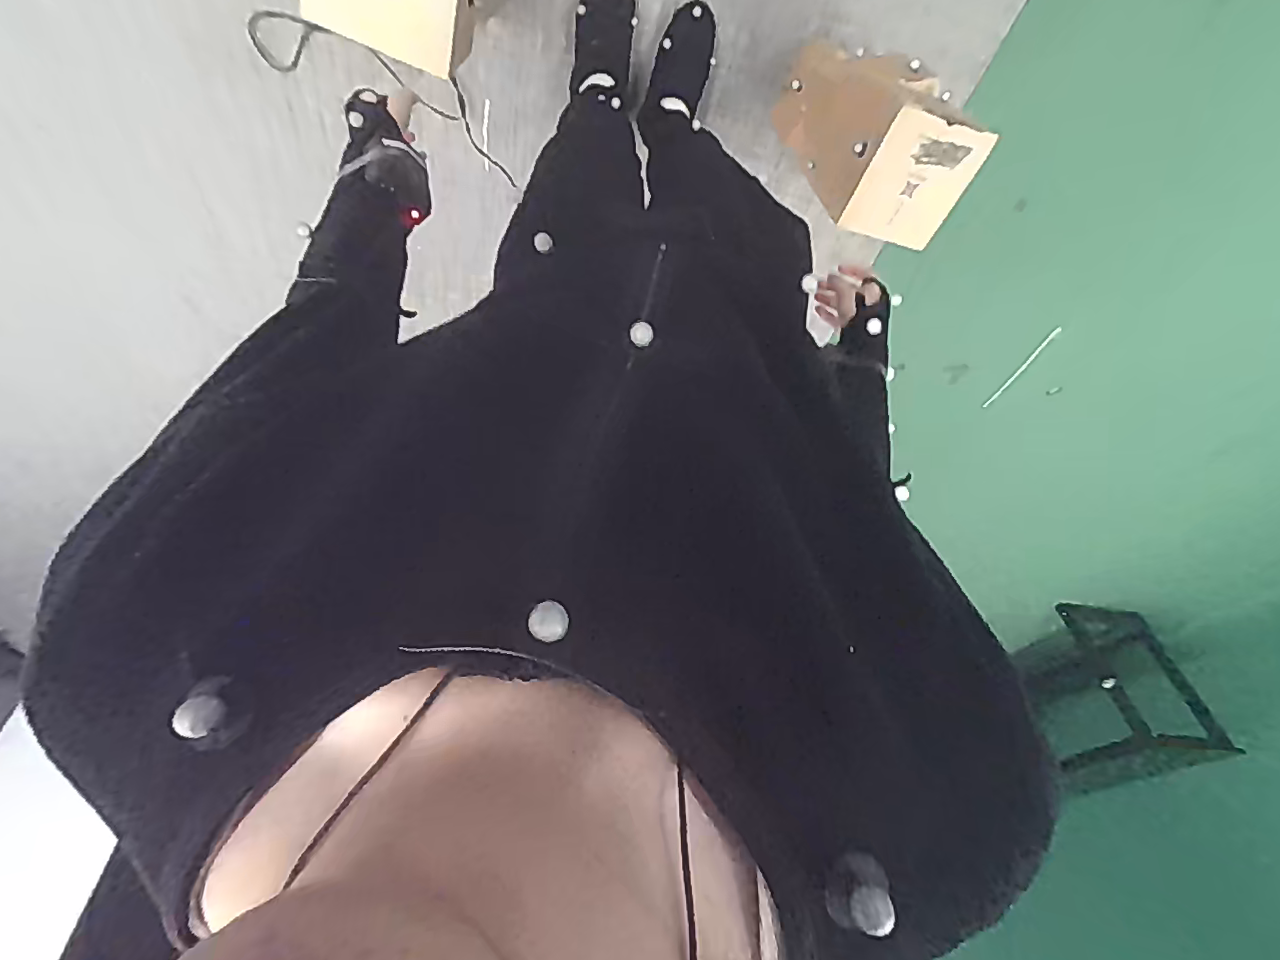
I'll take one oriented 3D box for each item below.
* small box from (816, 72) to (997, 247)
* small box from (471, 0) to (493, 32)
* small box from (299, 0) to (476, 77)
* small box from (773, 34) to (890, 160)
[{"bbox_3d":[0.406,-0.512,0.864,0.168,0.176,0.179,9,139,-14],"label":"small box"},{"bbox_3d":[-0.310,-0.894,0.881,0.168,0.176,0.179,19,135,-23],"label":"small box"},{"bbox_3d":[-0.297,-0.646,0.668,0.179,0.176,0.168,14,135,-17],"label":"small box"},{"bbox_3d":[0.390,-0.754,1.085,0.179,0.176,0.168,15,136,-19],"label":"small box"}]
